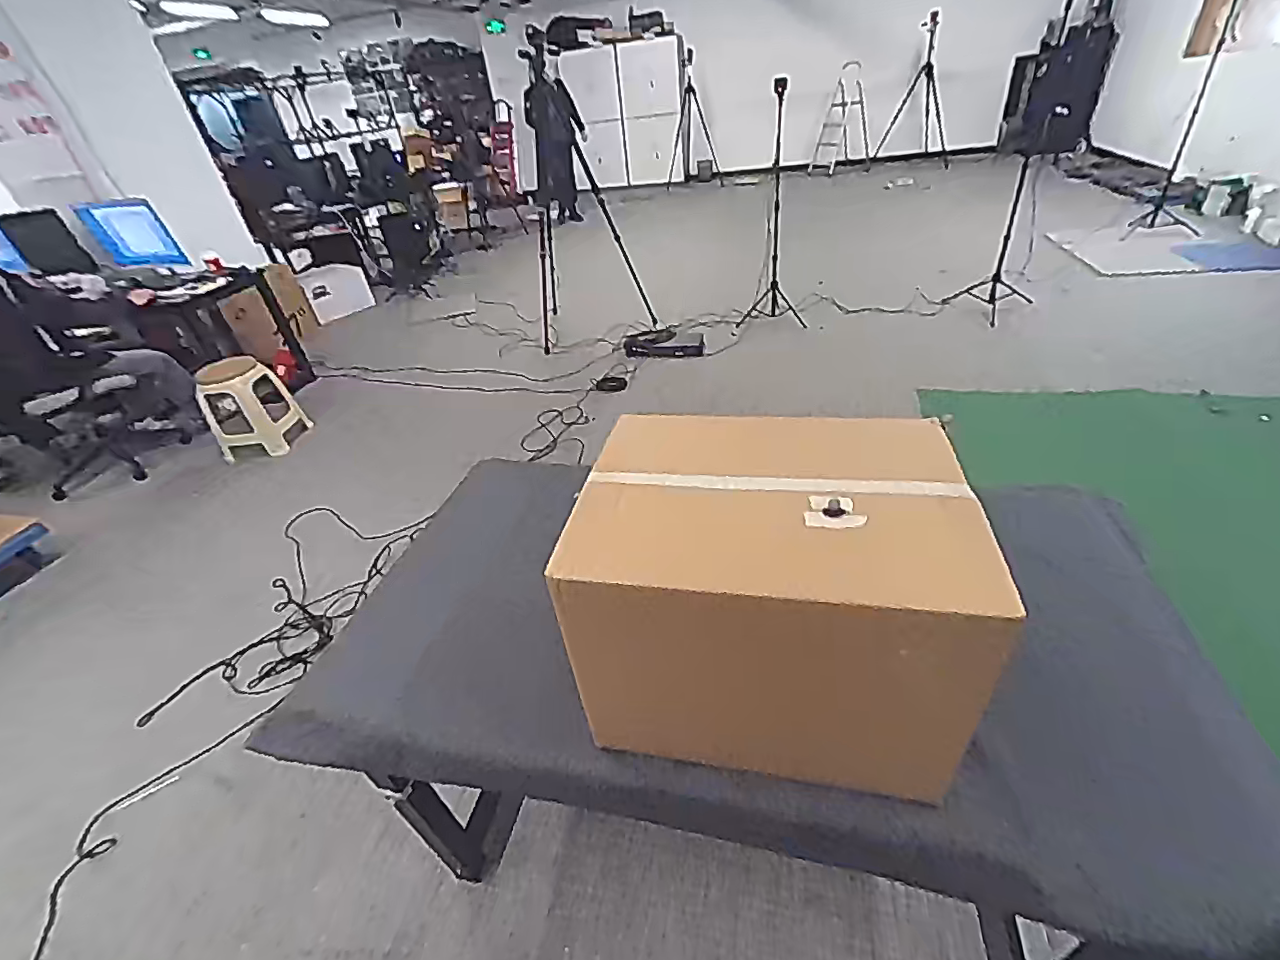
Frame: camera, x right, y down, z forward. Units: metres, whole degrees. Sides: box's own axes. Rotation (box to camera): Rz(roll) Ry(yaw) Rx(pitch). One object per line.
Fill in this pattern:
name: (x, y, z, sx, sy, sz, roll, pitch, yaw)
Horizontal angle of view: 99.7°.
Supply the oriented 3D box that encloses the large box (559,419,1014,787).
large box: (0.153, 0.132, 0.681, 0.408, 0.320, 0.320, 3, 37, 13)
